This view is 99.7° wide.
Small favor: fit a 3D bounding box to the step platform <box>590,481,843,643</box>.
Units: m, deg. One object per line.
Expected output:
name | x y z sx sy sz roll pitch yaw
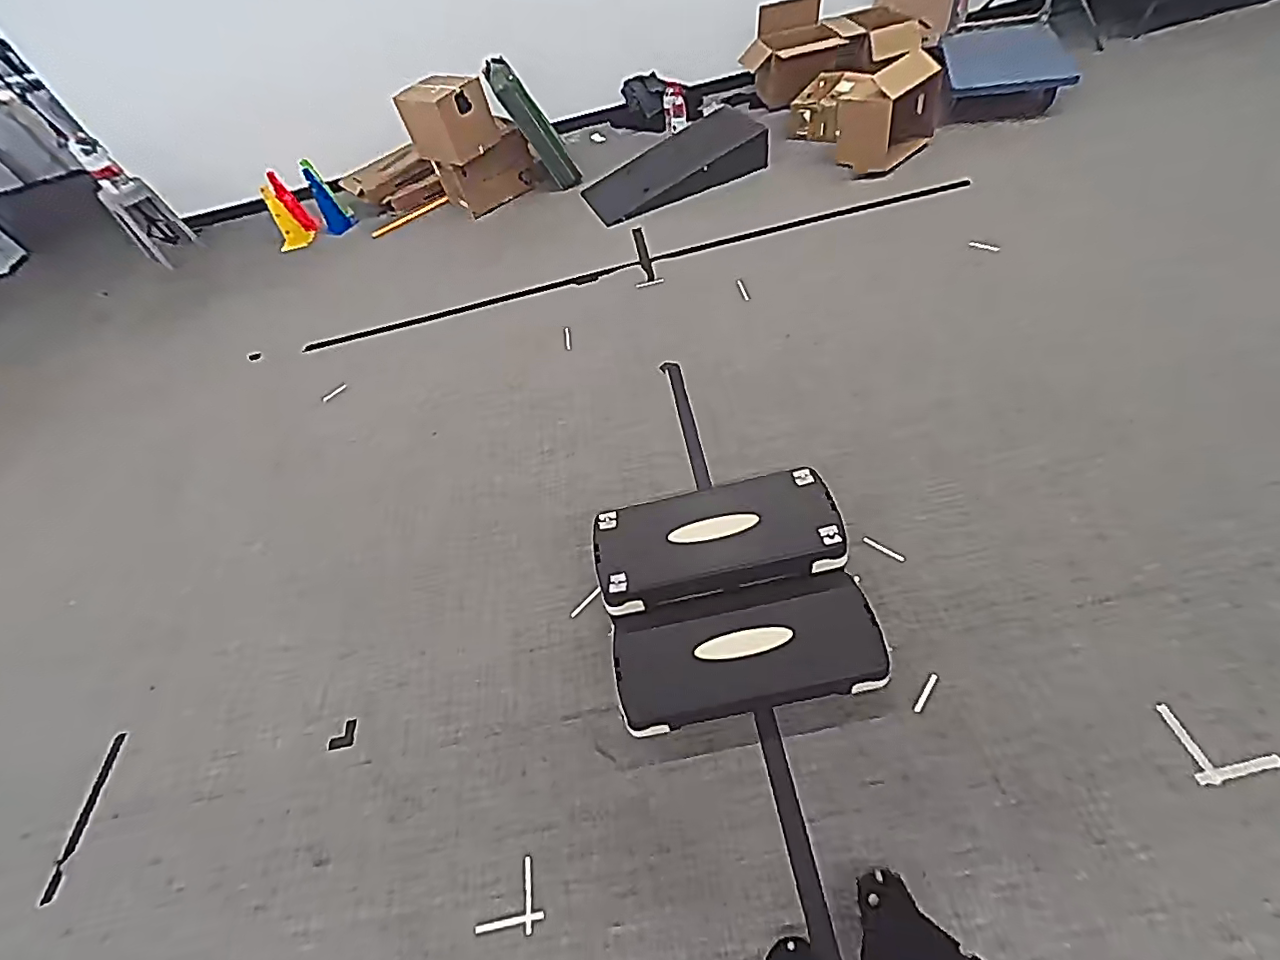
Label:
step platform | 0.202 0.224 1.516 0.684 0.204 0.286 -13 52 1
